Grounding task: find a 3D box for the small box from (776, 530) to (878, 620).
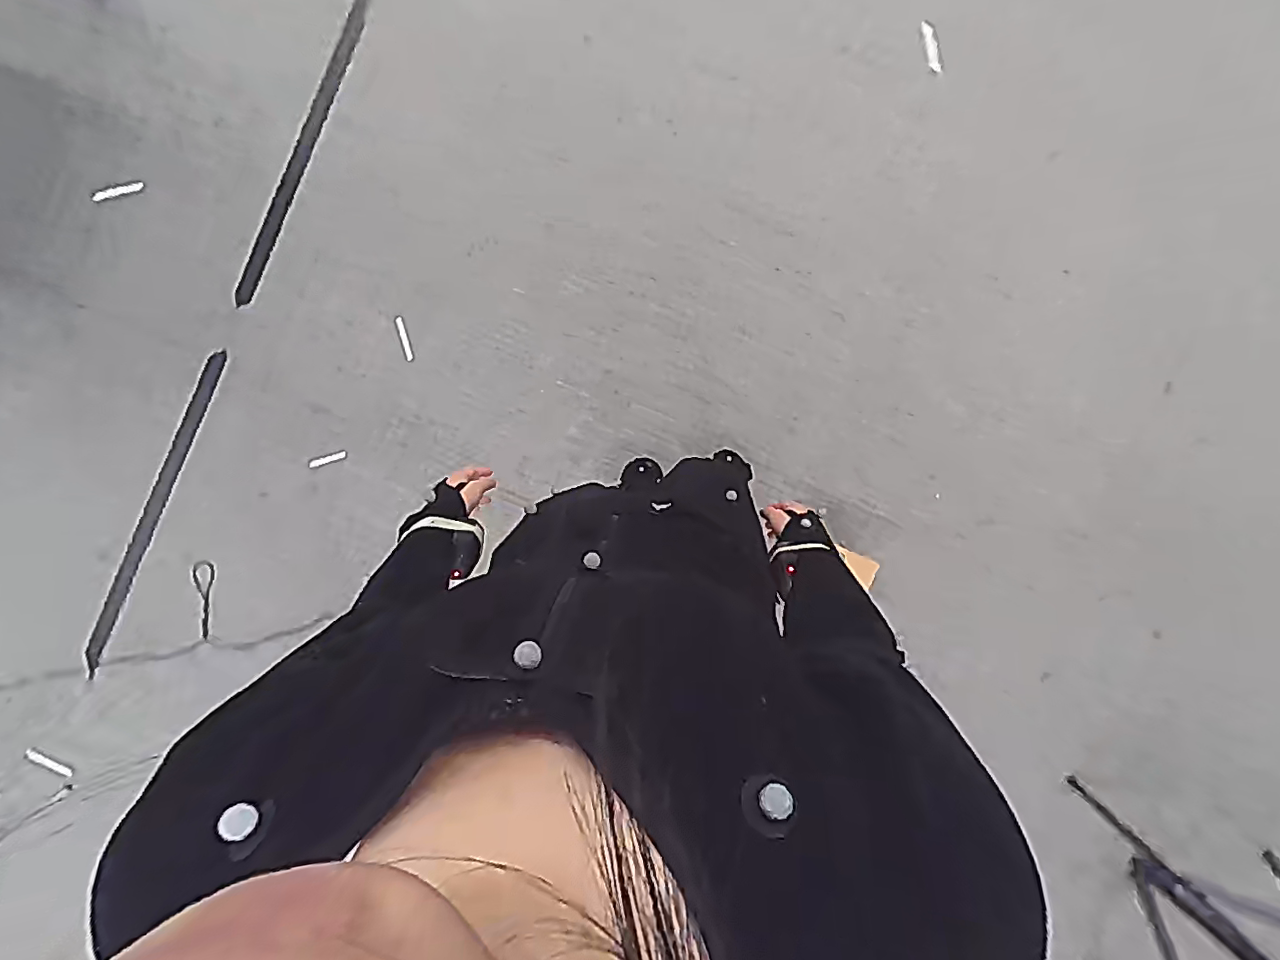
[{"bbox_3d":[0.481,0.240,1.420,0.179,0.176,0.168,23,94,-1],"label":"small box"}]
